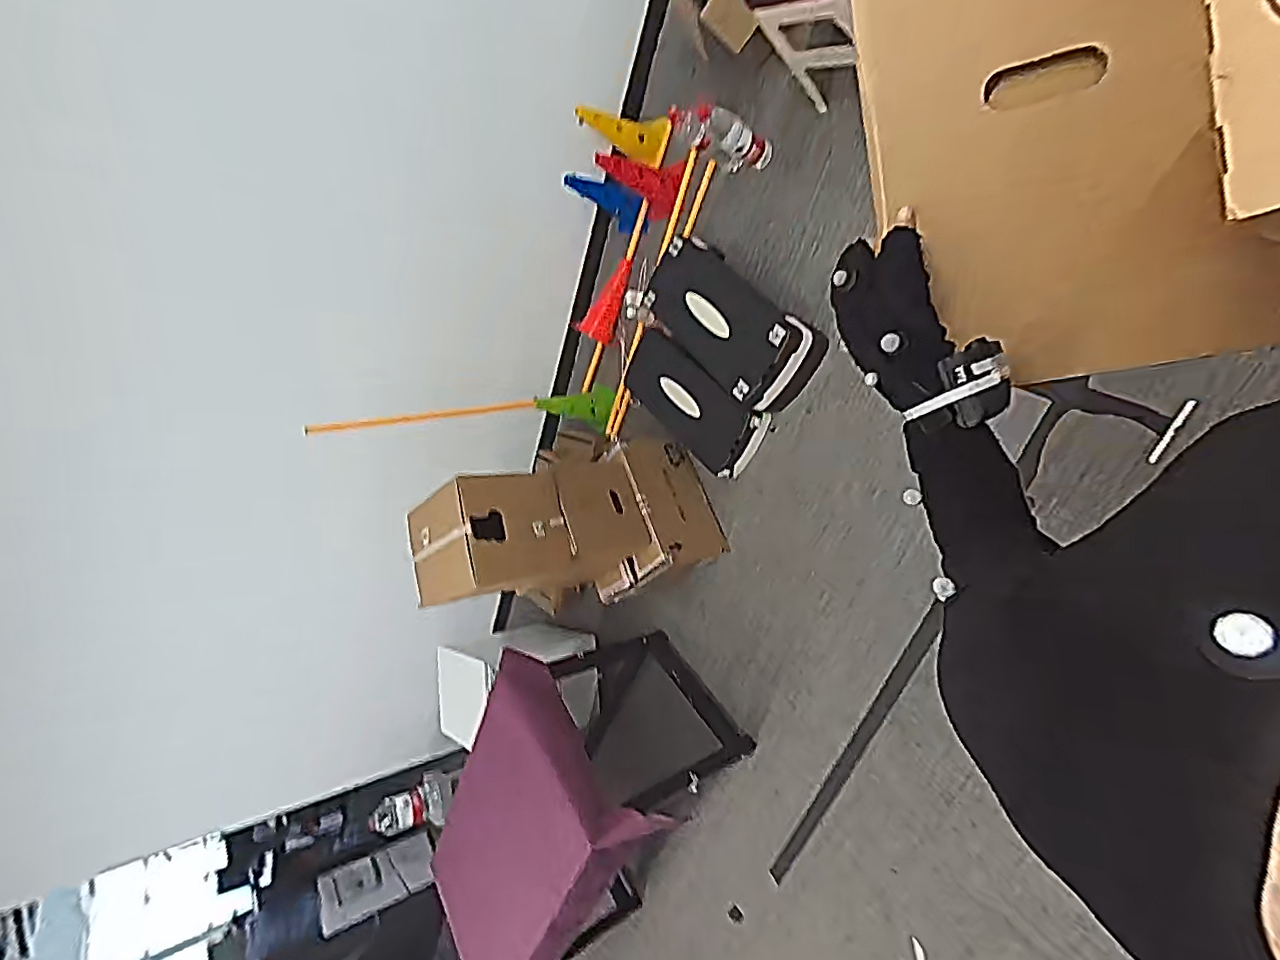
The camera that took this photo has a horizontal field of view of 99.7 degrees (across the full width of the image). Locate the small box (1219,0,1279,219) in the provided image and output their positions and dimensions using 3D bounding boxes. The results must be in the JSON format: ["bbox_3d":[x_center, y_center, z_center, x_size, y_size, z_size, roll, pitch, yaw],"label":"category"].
[{"bbox_3d":[0.471,-0.263,0.298,0.179,0.176,0.168,-1,97,61],"label":"small box"}]
